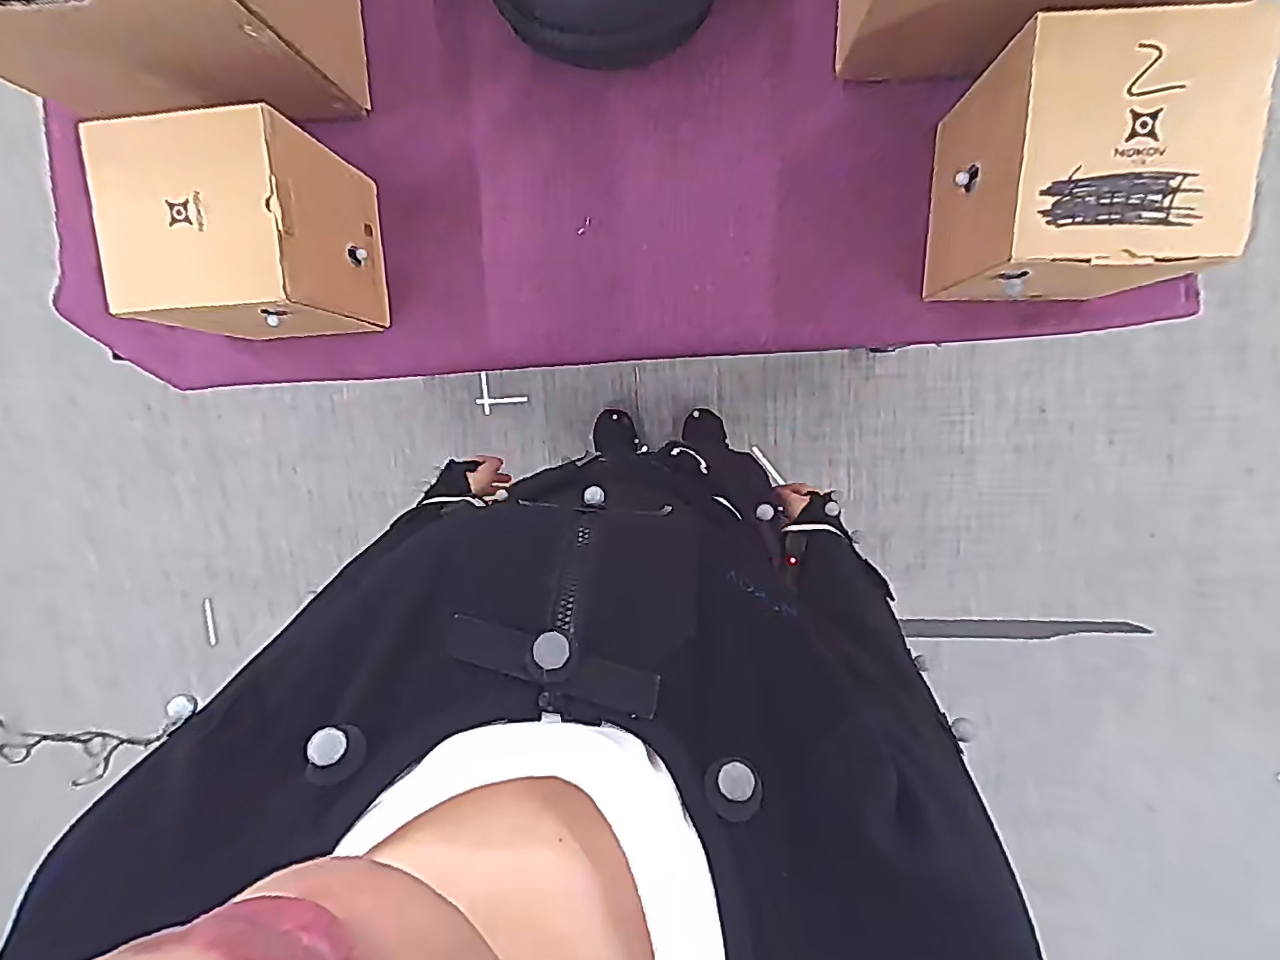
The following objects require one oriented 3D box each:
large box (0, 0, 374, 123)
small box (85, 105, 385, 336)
[{"bbox_3d":[-0.468,-0.578,0.446,0.320,0.320,0.408,-2,101,4],"label":"large box"},{"bbox_3d":[-0.399,-0.248,0.562,0.179,0.176,0.168,-3,97,5],"label":"small box"}]
